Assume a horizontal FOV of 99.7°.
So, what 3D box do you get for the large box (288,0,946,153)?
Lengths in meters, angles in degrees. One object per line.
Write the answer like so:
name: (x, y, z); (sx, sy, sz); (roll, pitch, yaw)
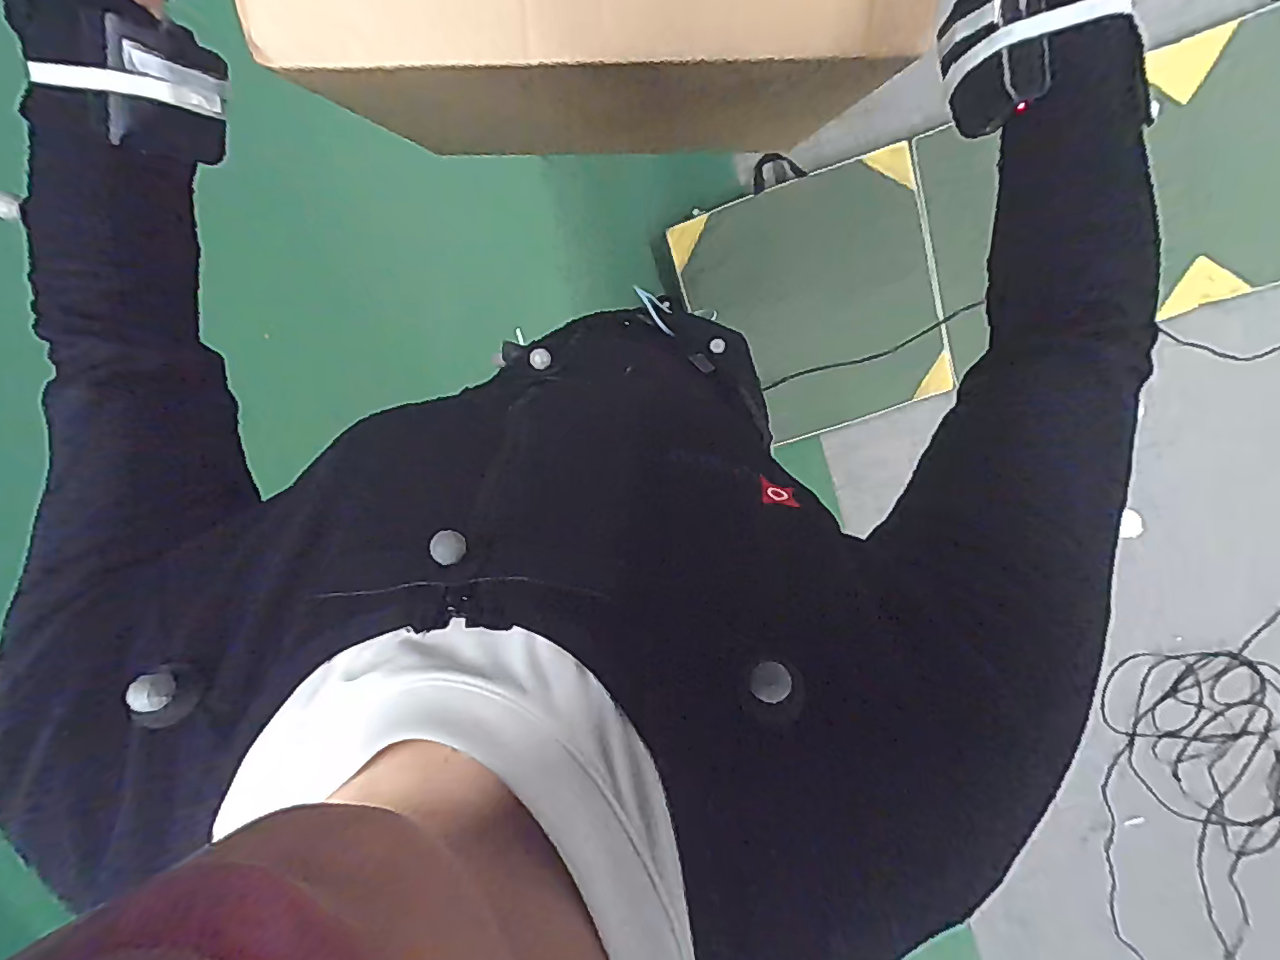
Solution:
large box: (-0.020, -0.461, 0.415); (0.408, 0.320, 0.320); (-1, 113, -1)
